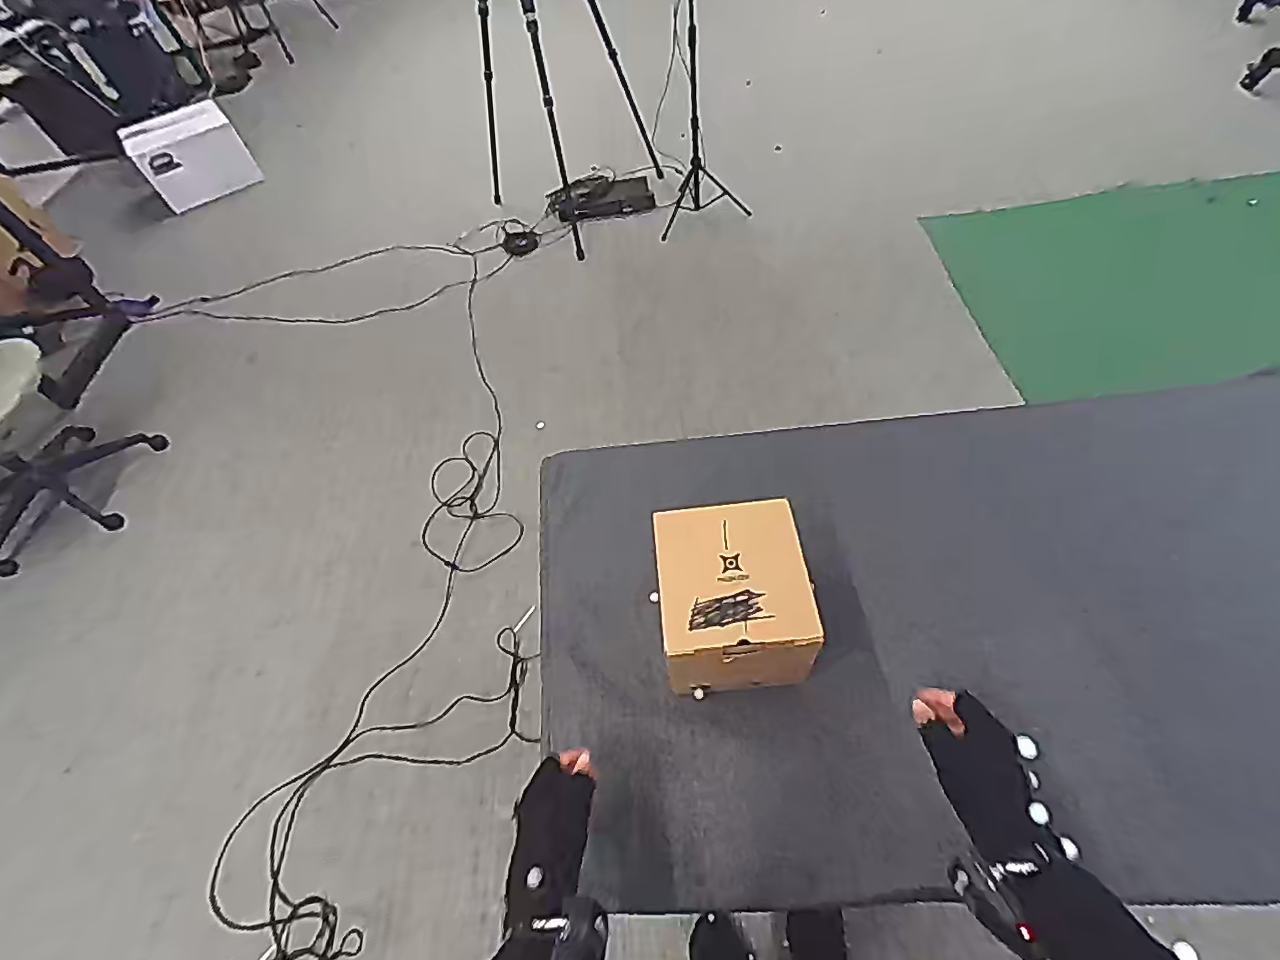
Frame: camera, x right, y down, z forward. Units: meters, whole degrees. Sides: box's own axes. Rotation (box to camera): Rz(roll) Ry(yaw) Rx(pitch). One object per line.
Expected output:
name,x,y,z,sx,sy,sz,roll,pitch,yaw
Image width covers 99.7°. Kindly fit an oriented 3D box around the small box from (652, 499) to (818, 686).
small box,0.109,0.147,0.670,0.168,0.176,0.179,-6,54,3
